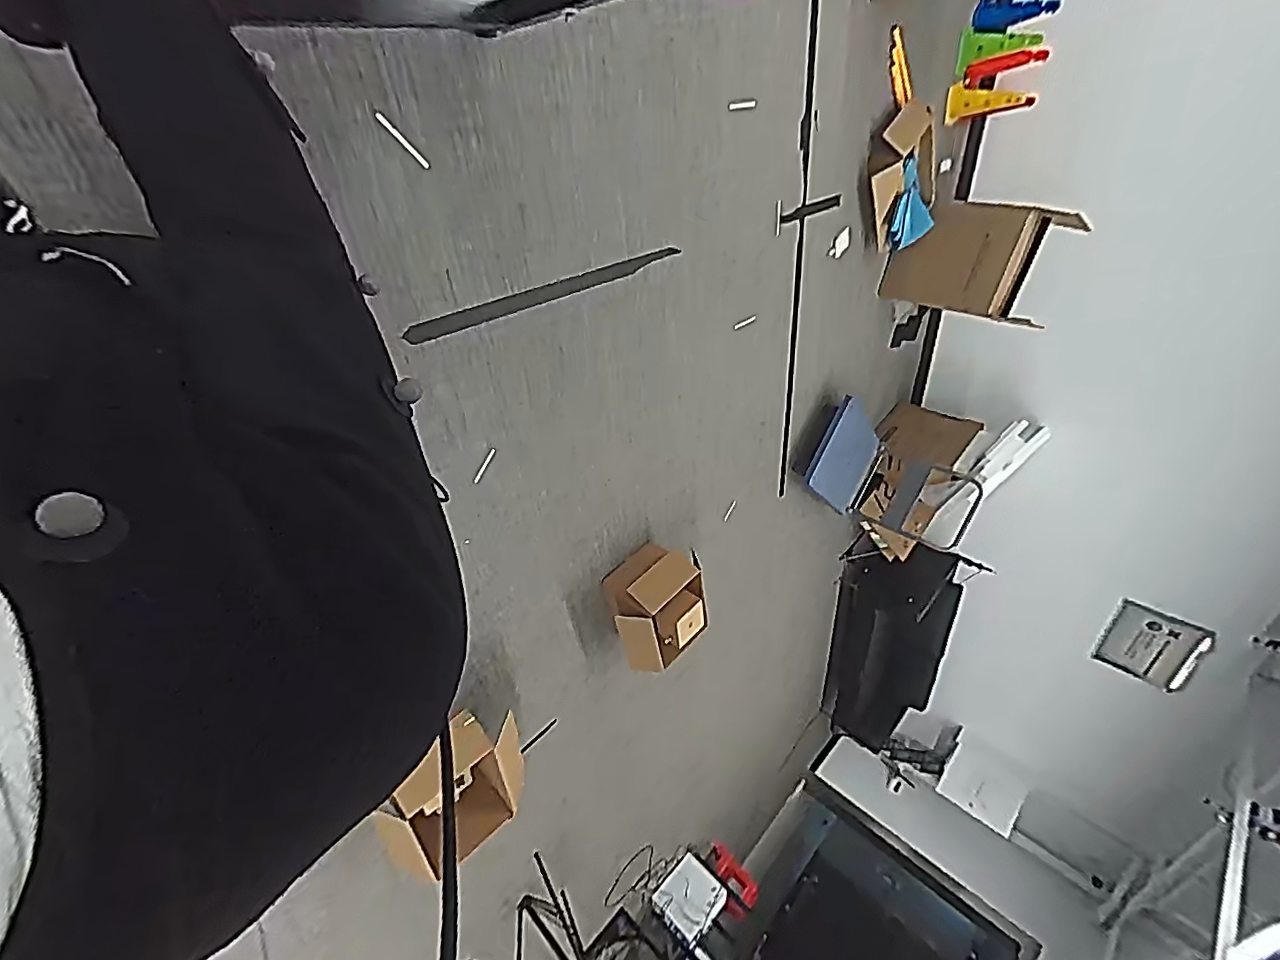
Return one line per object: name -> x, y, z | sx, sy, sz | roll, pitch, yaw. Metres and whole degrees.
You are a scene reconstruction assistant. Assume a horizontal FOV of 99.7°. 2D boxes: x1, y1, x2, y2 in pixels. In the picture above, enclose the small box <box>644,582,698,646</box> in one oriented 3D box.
small box -> 0.135, 0.580, 2.358 | 0.168, 0.176, 0.179 | -35, 134, -32
